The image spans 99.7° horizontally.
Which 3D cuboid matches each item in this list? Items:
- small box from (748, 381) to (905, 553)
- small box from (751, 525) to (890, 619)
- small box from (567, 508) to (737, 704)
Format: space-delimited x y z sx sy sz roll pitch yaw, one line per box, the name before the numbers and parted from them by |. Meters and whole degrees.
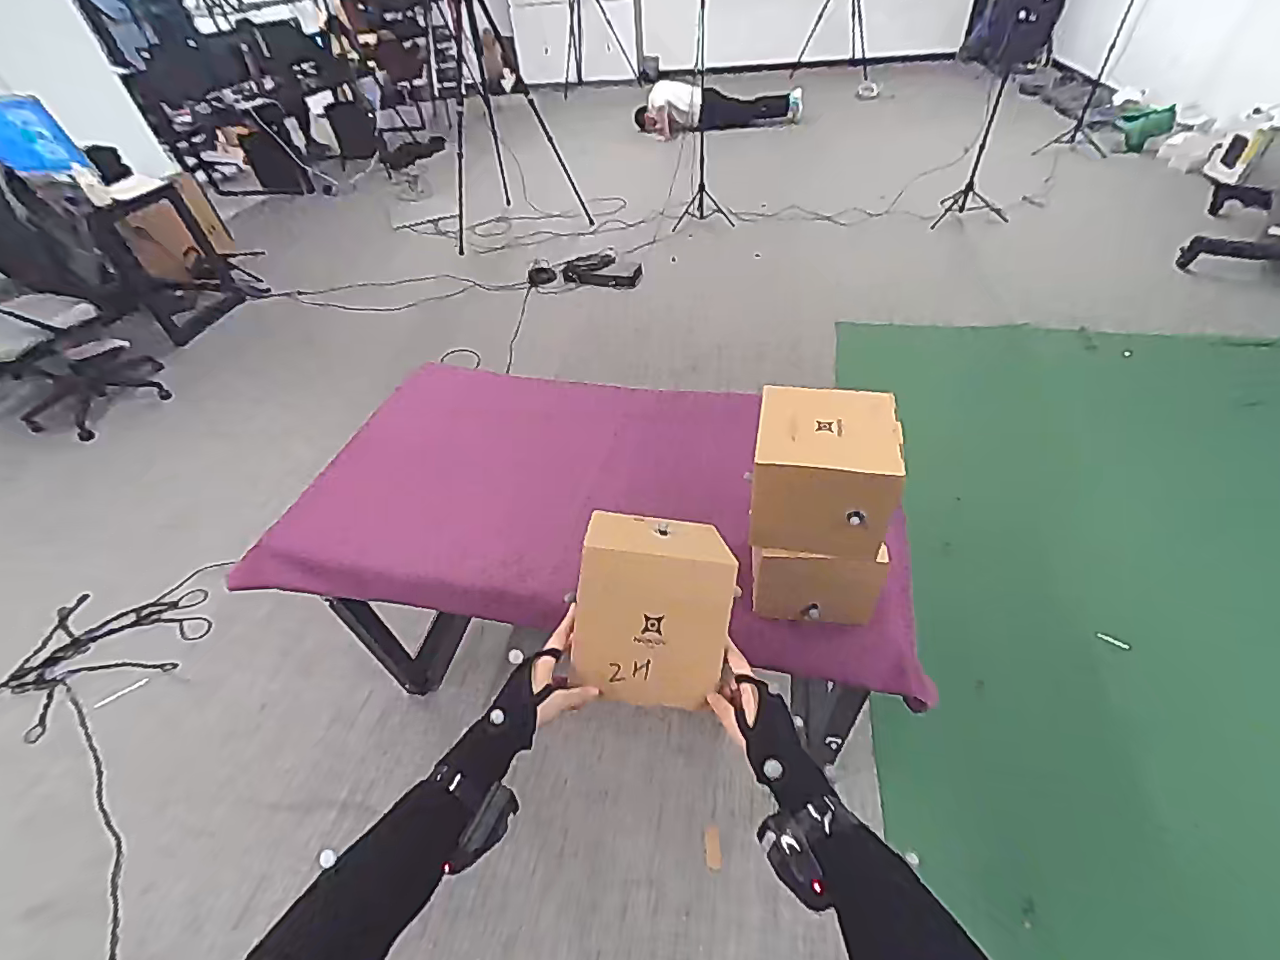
small box | 0.249 -0.017 0.751 0.179 0.176 0.168 6 46 14
small box | 0.273 0.104 0.858 0.179 0.176 0.168 3 45 9
small box | 0.010 0.140 0.659 0.168 0.179 0.176 7 10 -2
